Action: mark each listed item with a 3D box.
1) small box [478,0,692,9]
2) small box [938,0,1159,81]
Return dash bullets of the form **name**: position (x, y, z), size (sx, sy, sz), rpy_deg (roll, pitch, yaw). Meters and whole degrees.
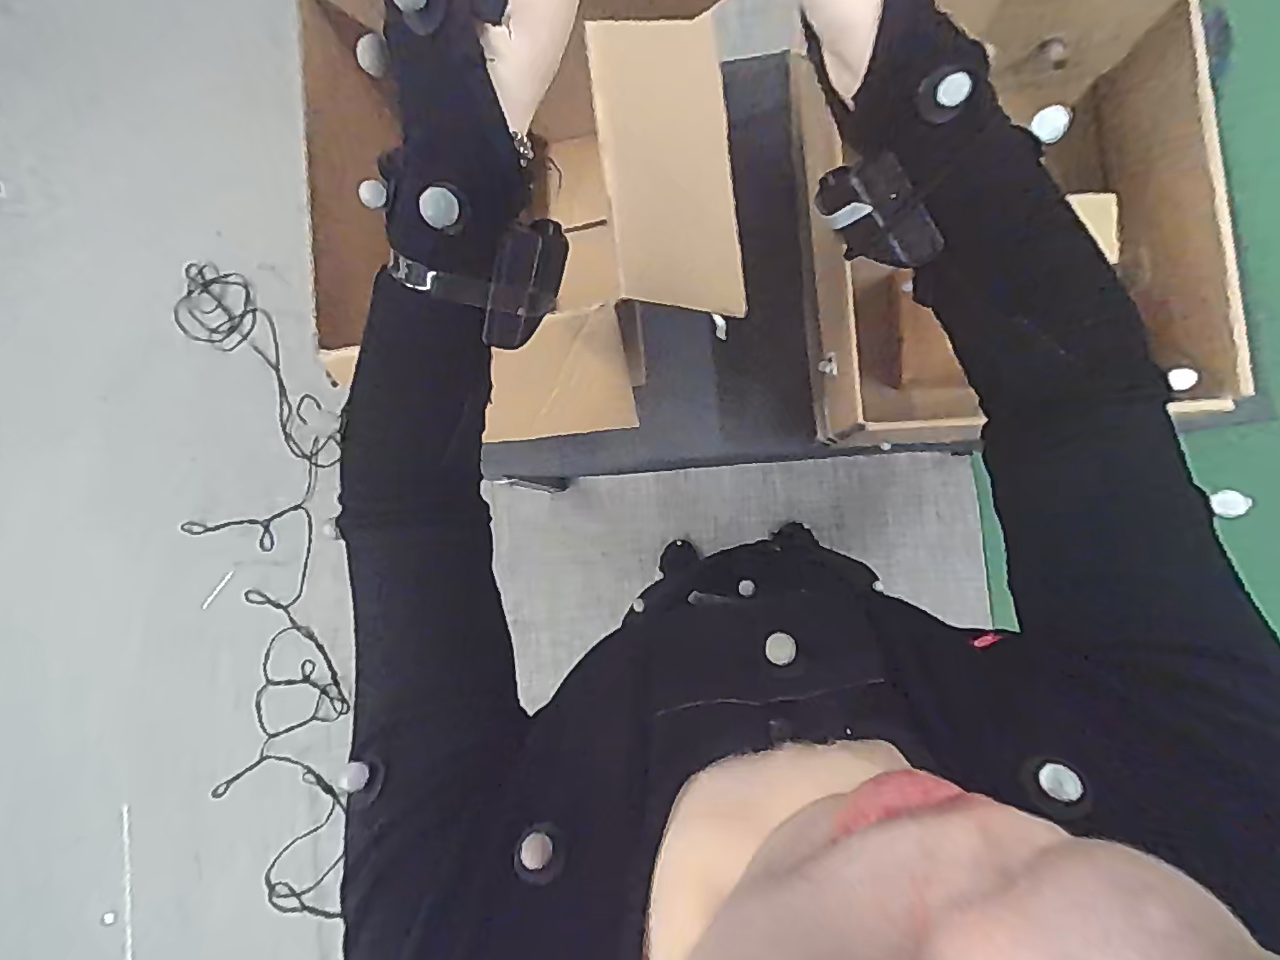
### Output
- **small box**: position (-0.016, -0.366, 0.276), size (0.179, 0.176, 0.168), rpy_deg (-13, 122, -14)
- **small box**: position (0.394, -0.522, 0.500), size (0.168, 0.176, 0.179), rpy_deg (-4, 88, 5)
